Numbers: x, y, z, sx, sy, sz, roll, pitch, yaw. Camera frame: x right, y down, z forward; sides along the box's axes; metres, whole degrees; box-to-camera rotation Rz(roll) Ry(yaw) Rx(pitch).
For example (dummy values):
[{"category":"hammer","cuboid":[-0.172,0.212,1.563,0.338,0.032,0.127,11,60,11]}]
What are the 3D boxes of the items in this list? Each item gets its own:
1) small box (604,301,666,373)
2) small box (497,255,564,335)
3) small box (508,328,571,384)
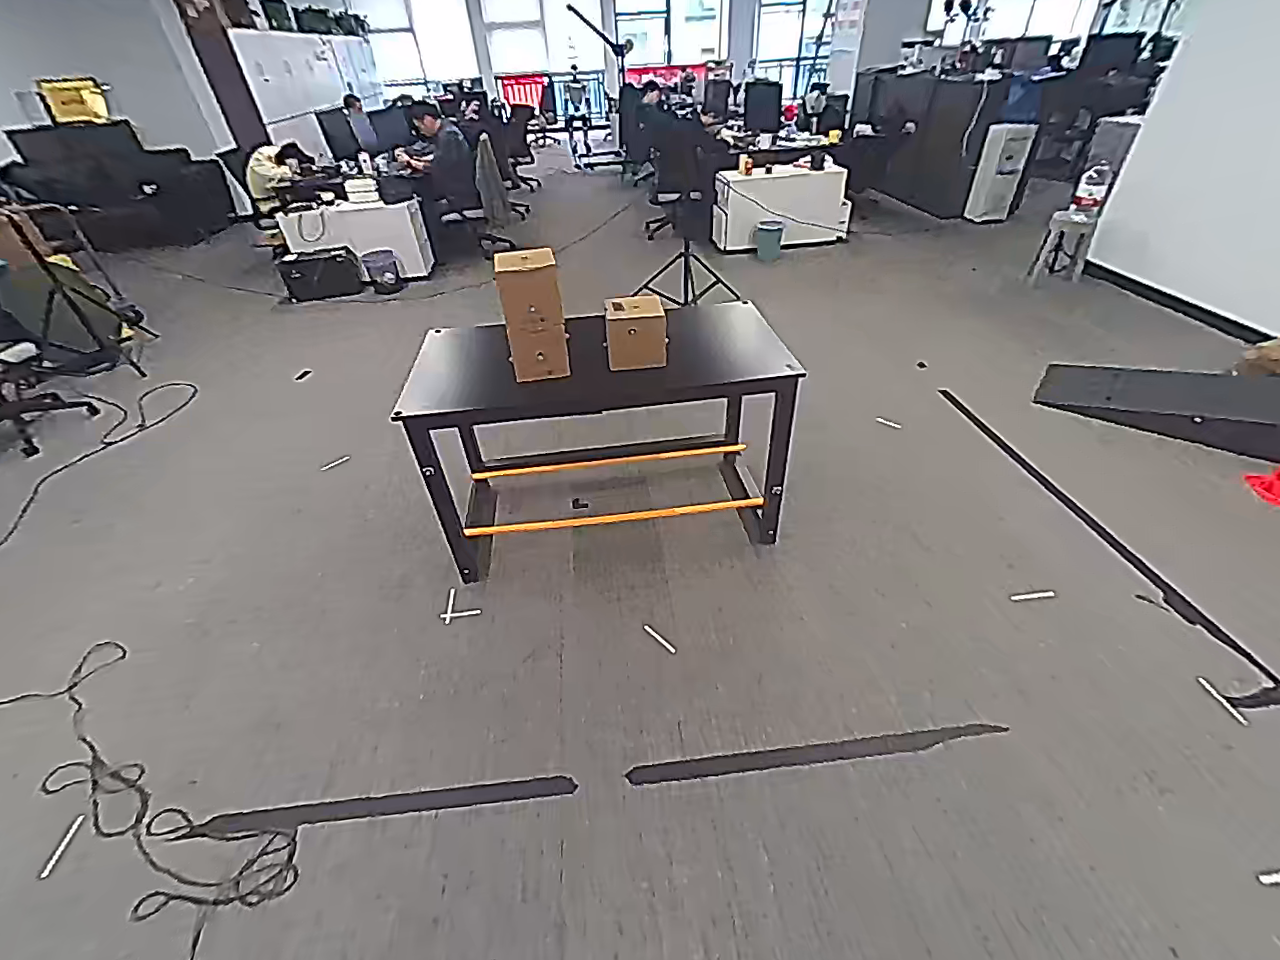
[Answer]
[{"category":"small box","cuboid":[-0.015,-0.447,1.703,0.179,0.176,0.168,-5,38,-3]},{"category":"small box","cuboid":[-0.321,-0.543,1.585,0.168,0.176,0.179,-11,39,-7]},{"category":"small box","cuboid":[-0.311,-0.410,1.685,0.168,0.176,0.179,-10,39,-6]}]
